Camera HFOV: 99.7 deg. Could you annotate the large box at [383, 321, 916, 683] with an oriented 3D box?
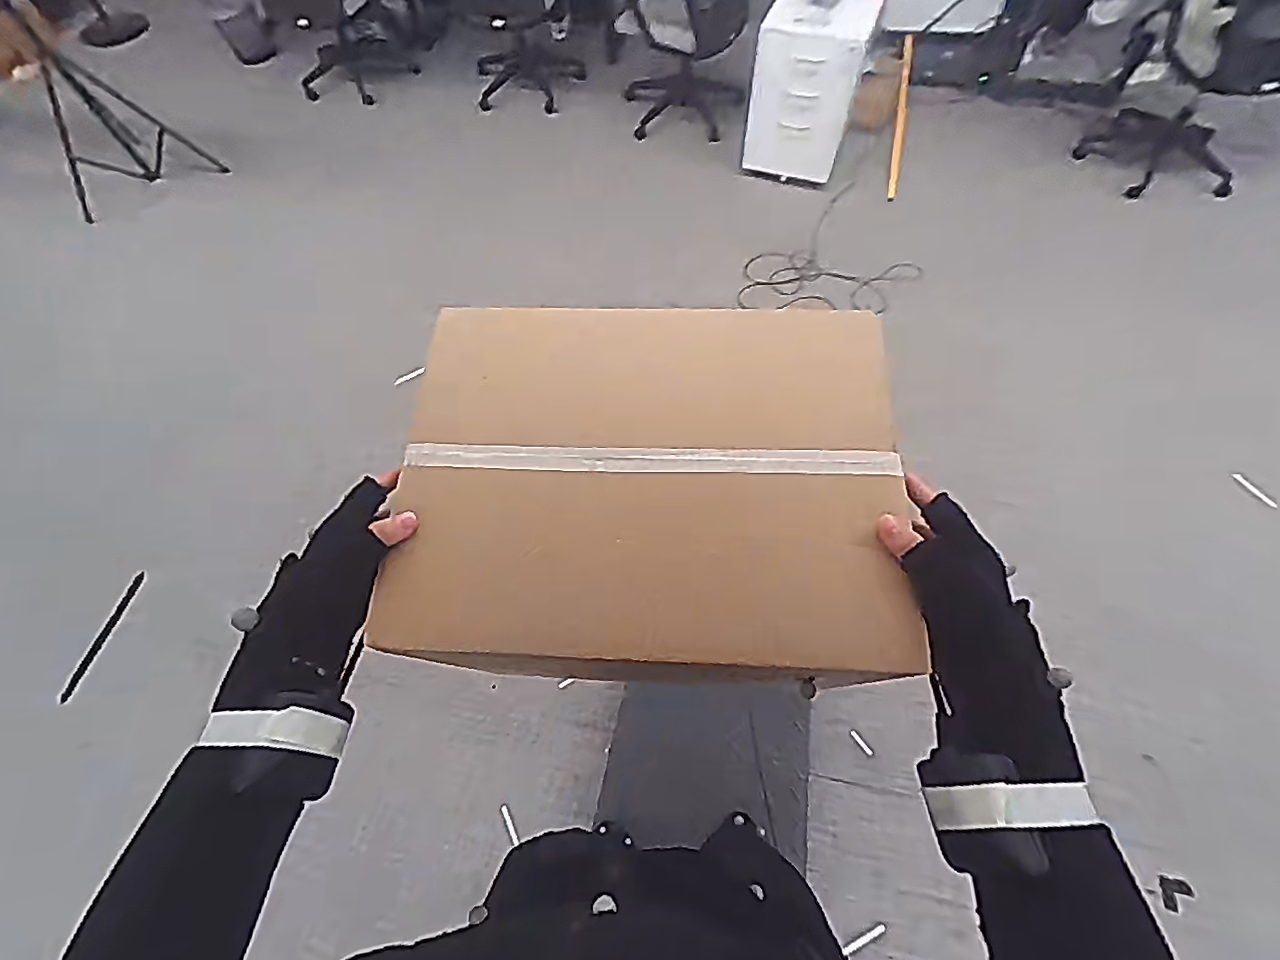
[{"bbox_3d":[0.017,0.049,0.591,0.408,0.320,0.320,2,67,3],"label":"large box"}]
